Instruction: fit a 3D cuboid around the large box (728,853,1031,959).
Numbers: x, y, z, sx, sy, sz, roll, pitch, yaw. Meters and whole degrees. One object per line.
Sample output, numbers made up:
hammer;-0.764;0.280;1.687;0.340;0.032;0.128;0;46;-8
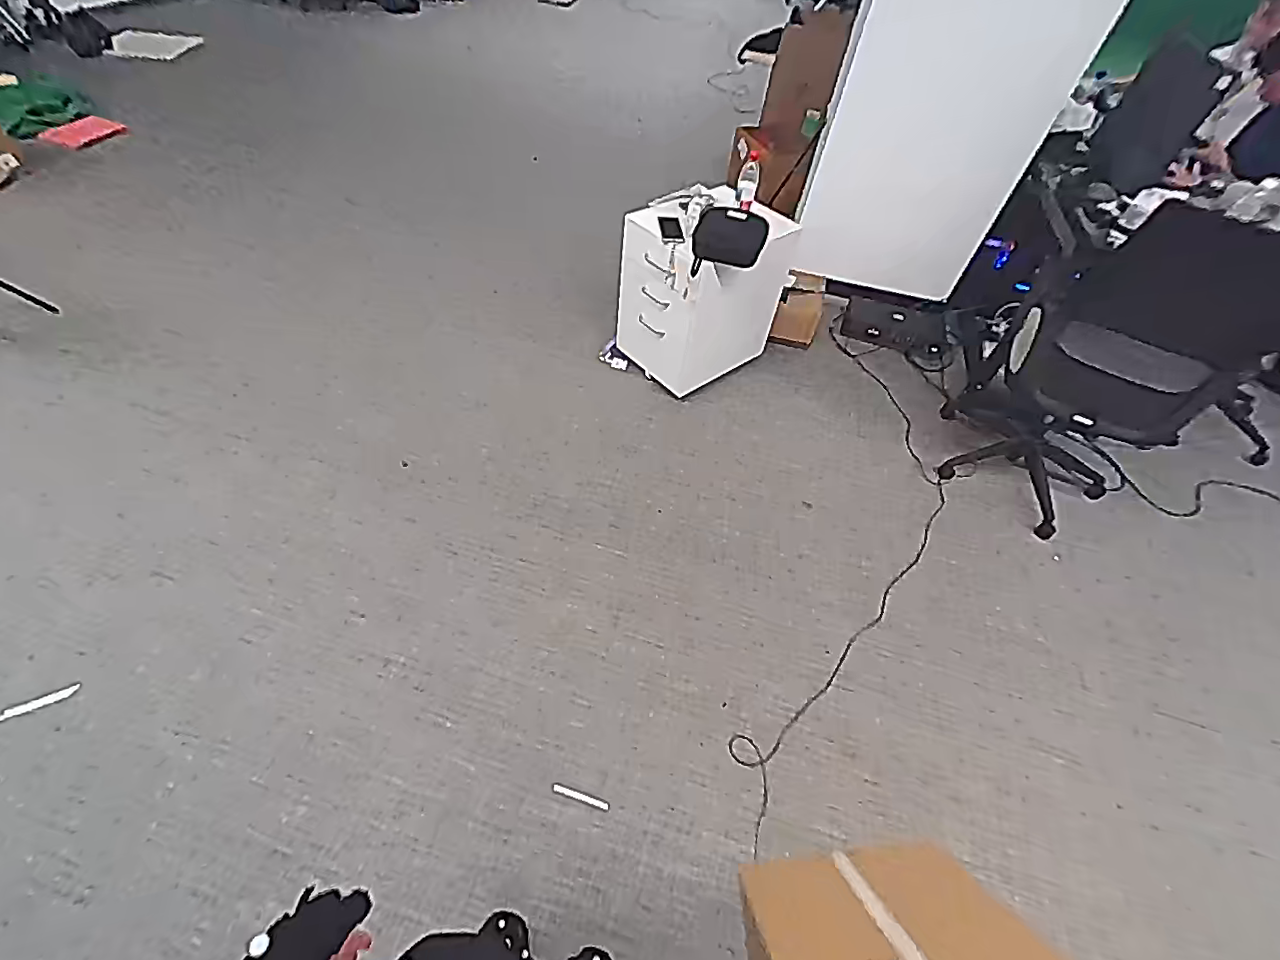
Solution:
large box;0.310;0.717;0.628;0.320;0.408;0.320;-6;81;-4
